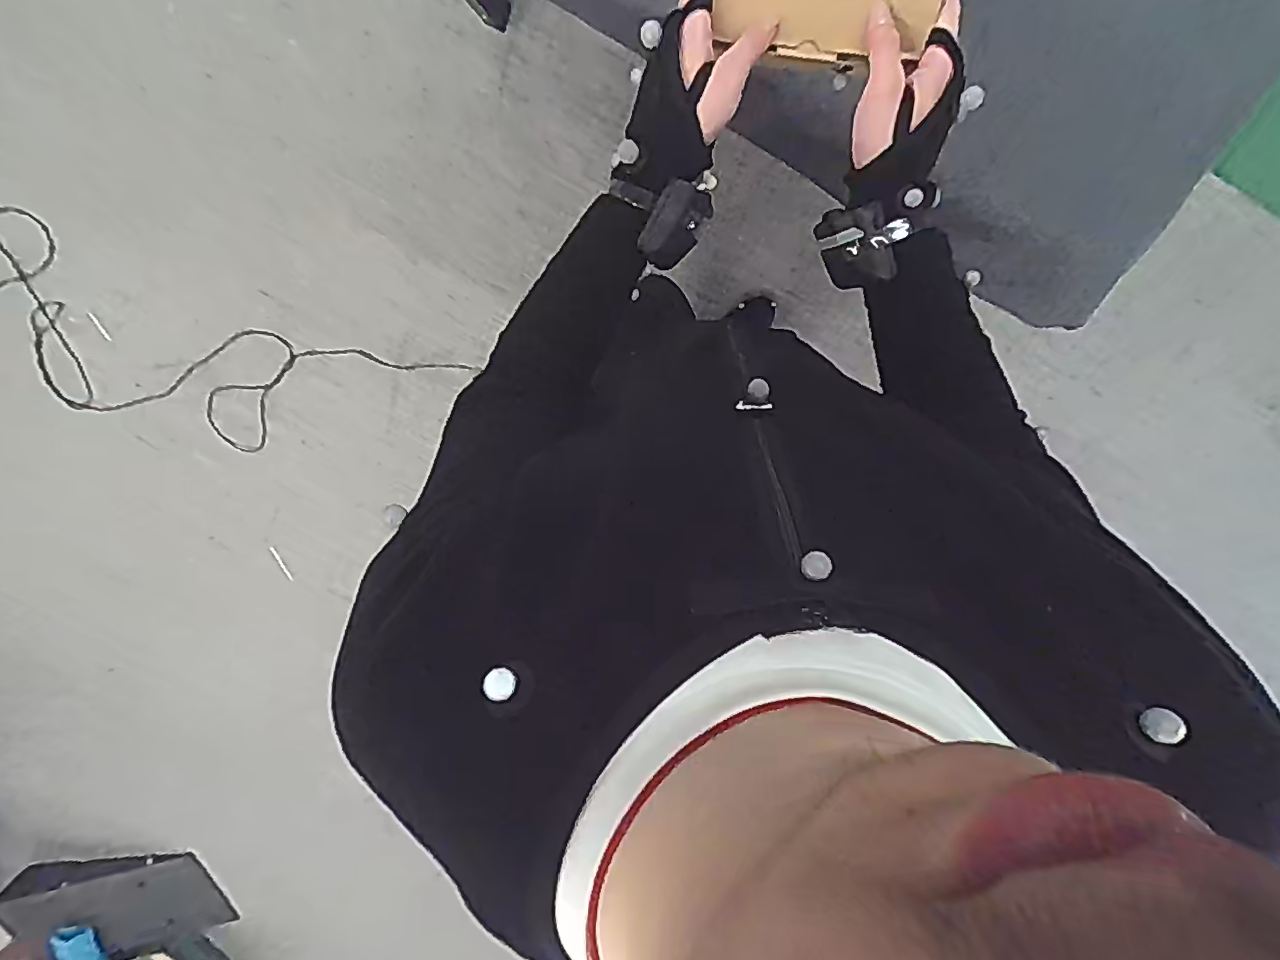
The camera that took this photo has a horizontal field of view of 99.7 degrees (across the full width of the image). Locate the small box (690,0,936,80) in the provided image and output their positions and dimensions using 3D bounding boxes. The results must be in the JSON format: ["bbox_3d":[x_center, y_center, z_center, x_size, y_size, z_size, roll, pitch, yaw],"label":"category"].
[{"bbox_3d":[0.139,-0.418,0.406,0.168,0.176,0.179,10,124,5],"label":"small box"}]
